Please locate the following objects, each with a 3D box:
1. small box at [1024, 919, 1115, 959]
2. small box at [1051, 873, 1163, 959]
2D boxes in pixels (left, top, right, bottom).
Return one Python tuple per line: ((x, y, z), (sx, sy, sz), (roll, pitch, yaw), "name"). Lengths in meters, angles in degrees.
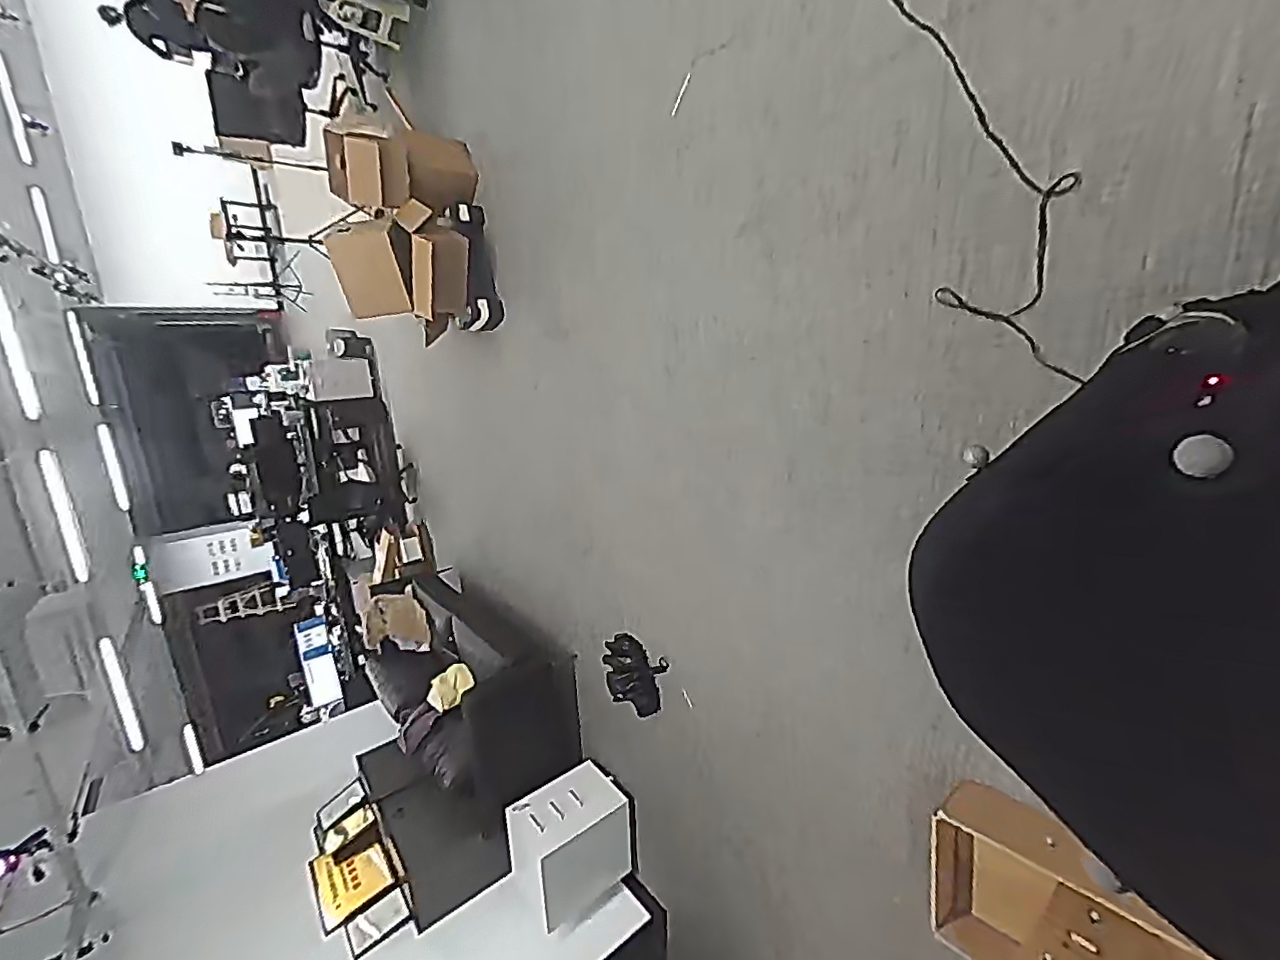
((0.912, 1.087, 1.128), (0.168, 0.176, 0.179), (6, 105, 53), "small box")
((1.055, 1.056, 1.229), (0.168, 0.176, 0.179), (10, 109, 52), "small box")
